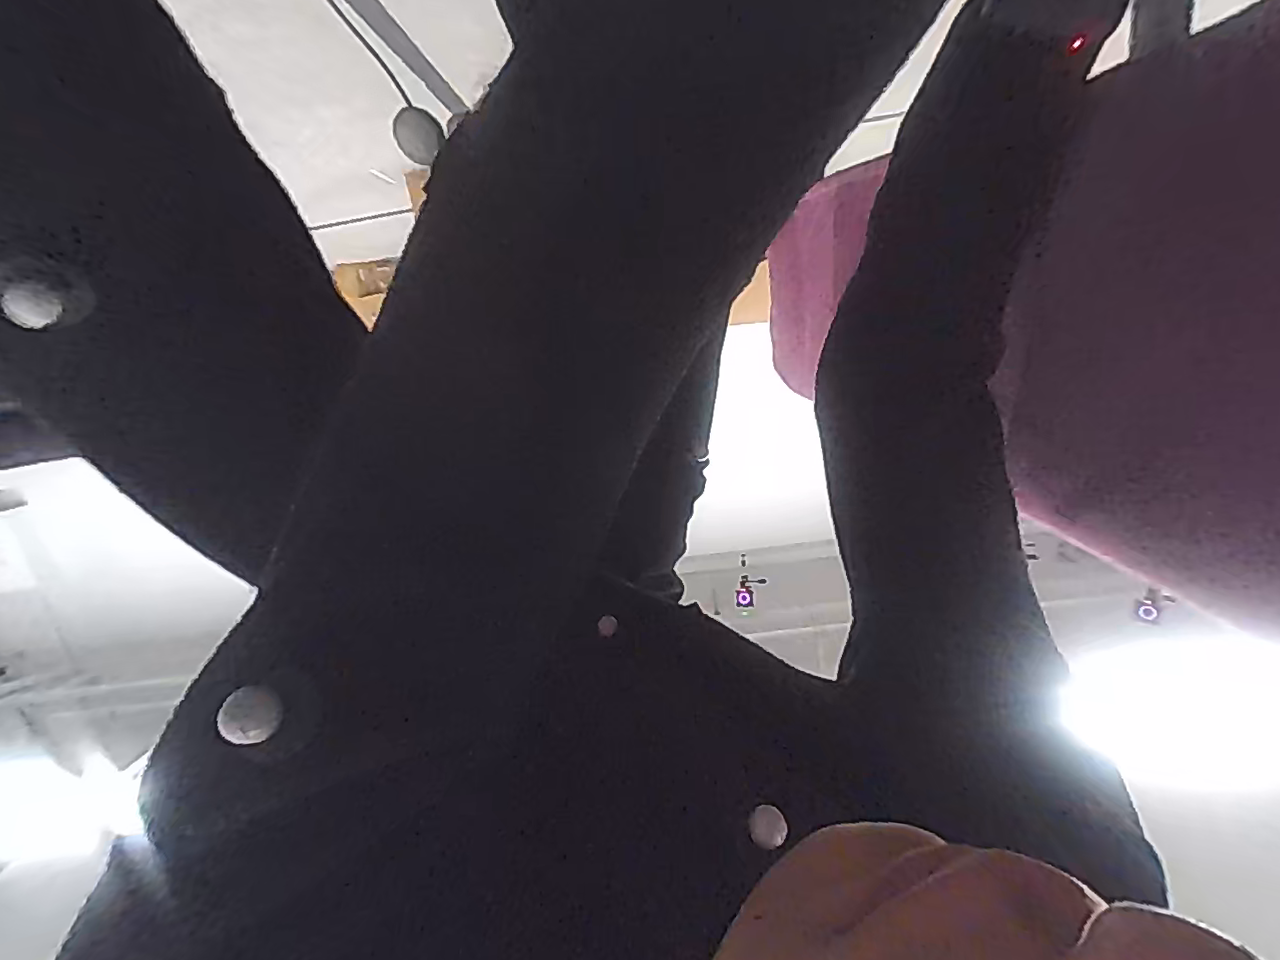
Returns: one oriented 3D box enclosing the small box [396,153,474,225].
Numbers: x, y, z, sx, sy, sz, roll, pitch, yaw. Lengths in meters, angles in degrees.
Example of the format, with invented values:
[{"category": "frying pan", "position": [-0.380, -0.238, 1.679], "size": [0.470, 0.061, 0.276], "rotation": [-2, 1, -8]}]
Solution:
[{"category": "small box", "position": [-0.668, -0.952, 1.775], "size": [0.168, 0.176, 0.179], "rotation": [-7, -164, 8]}]
